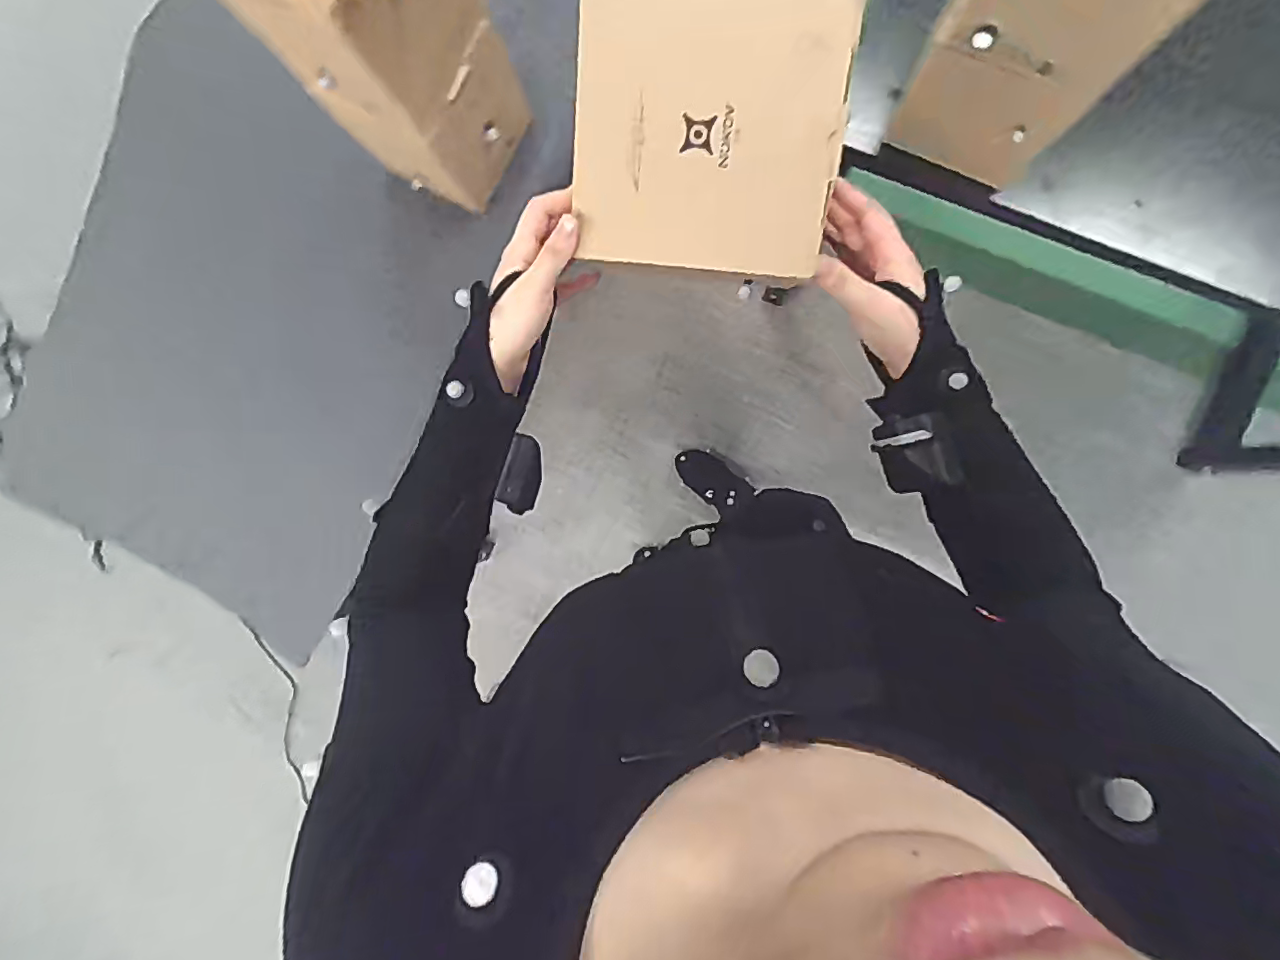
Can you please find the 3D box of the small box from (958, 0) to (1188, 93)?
[{"bbox_3d":[0.422,-0.501,0.479,0.168,0.176,0.179,27,92,4],"label":"small box"}]

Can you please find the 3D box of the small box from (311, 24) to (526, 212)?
[{"bbox_3d":[-0.278,-0.491,0.720,0.179,0.176,0.168,27,93,6],"label":"small box"}]

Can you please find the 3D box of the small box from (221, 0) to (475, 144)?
[{"bbox_3d":[-0.295,-0.501,0.557,0.168,0.176,0.179,26,94,7],"label":"small box"}]
